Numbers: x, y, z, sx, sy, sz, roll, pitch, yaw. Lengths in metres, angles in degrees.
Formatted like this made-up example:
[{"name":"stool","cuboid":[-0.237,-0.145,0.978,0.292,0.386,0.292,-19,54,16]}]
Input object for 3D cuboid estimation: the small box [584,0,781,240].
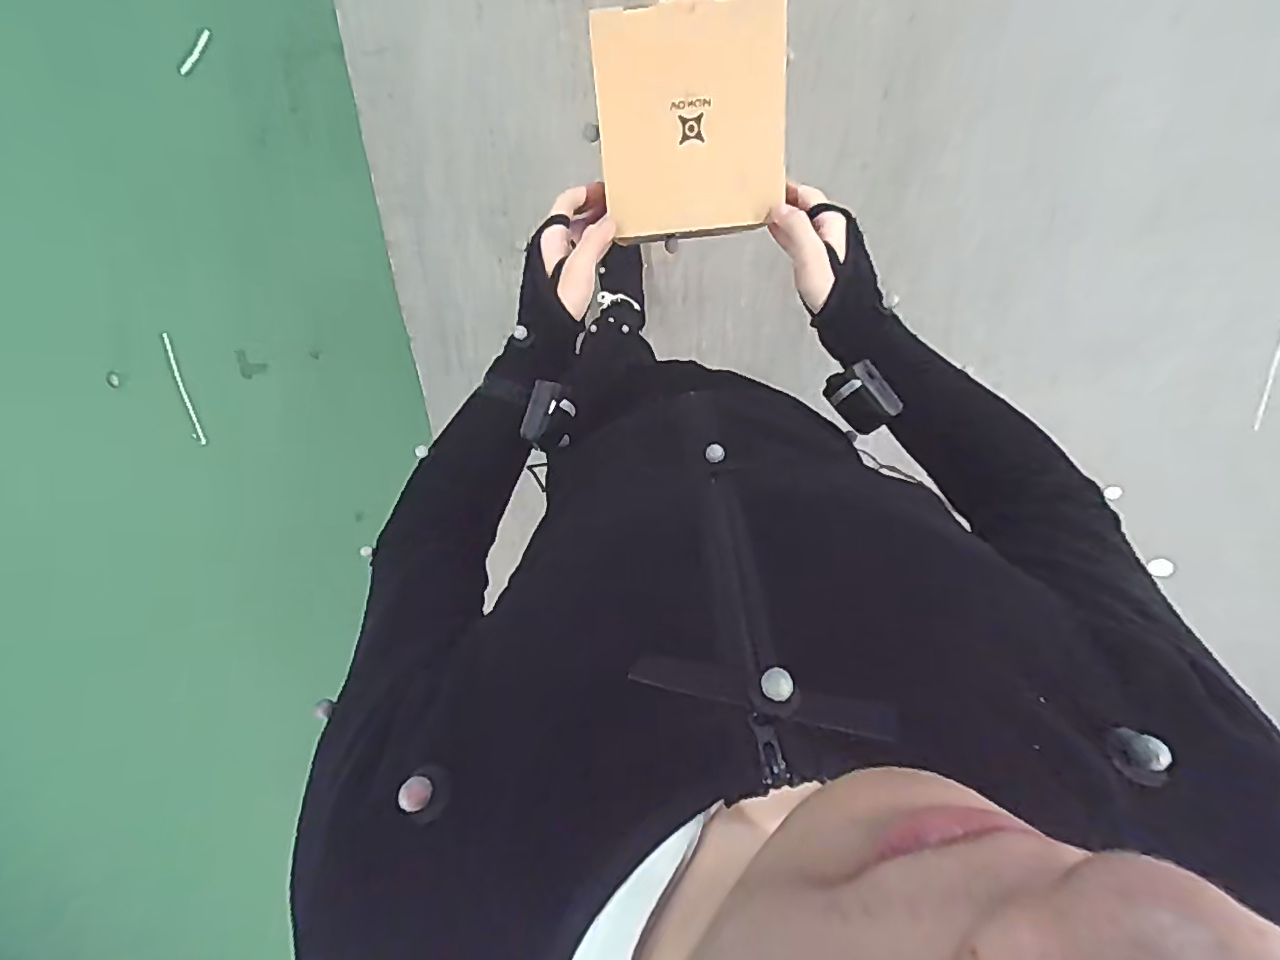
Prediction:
[{"name":"small box","cuboid":[0.045,-0.346,0.550,0.168,0.176,0.179,-4,110,4]}]
